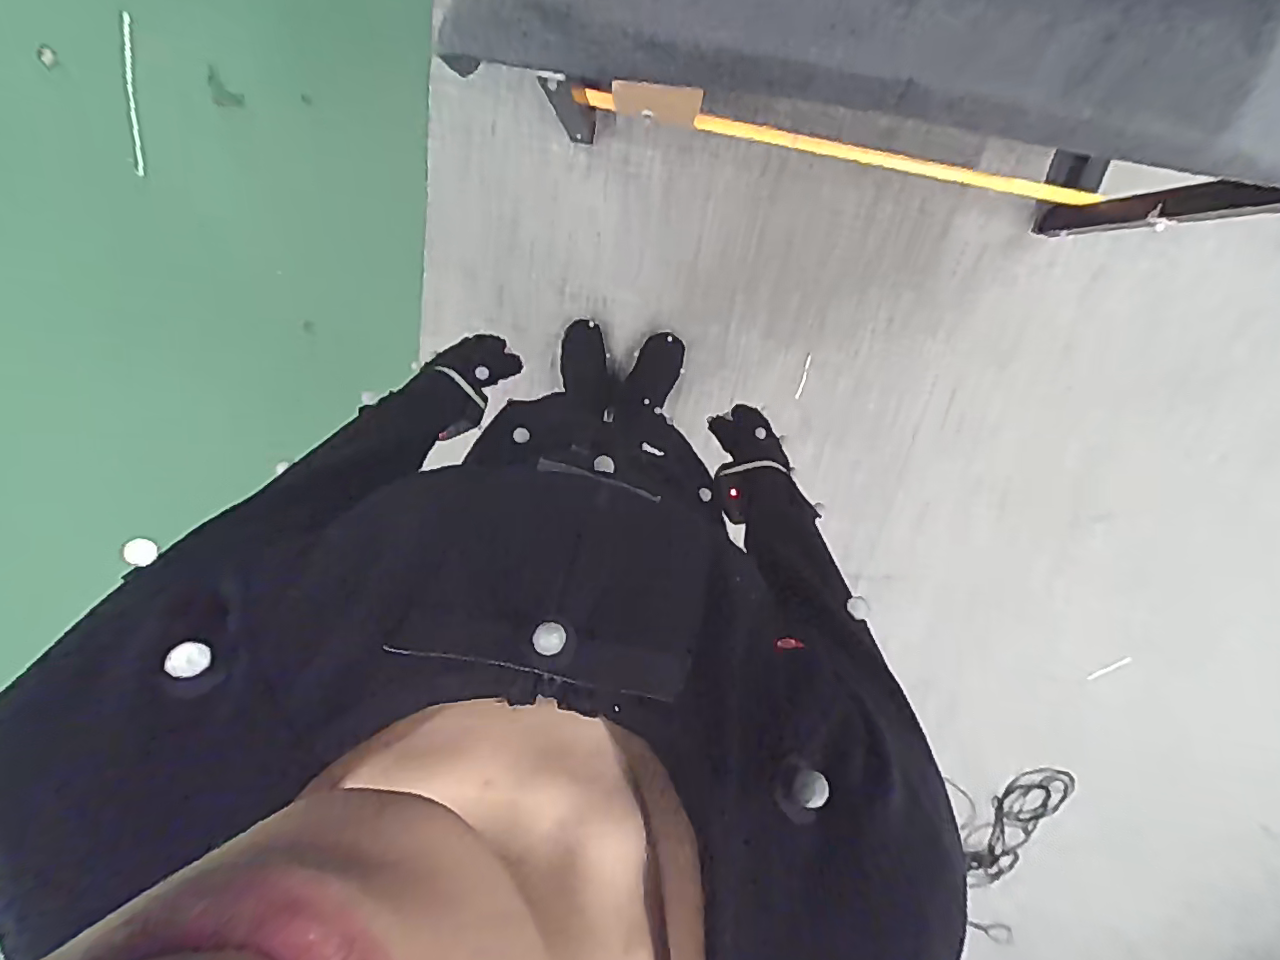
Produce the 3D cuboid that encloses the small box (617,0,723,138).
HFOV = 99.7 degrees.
[{"bbox_3d":[0.051,-0.784,1.031,0.168,0.176,0.179,8,111,-3],"label":"small box"}]
